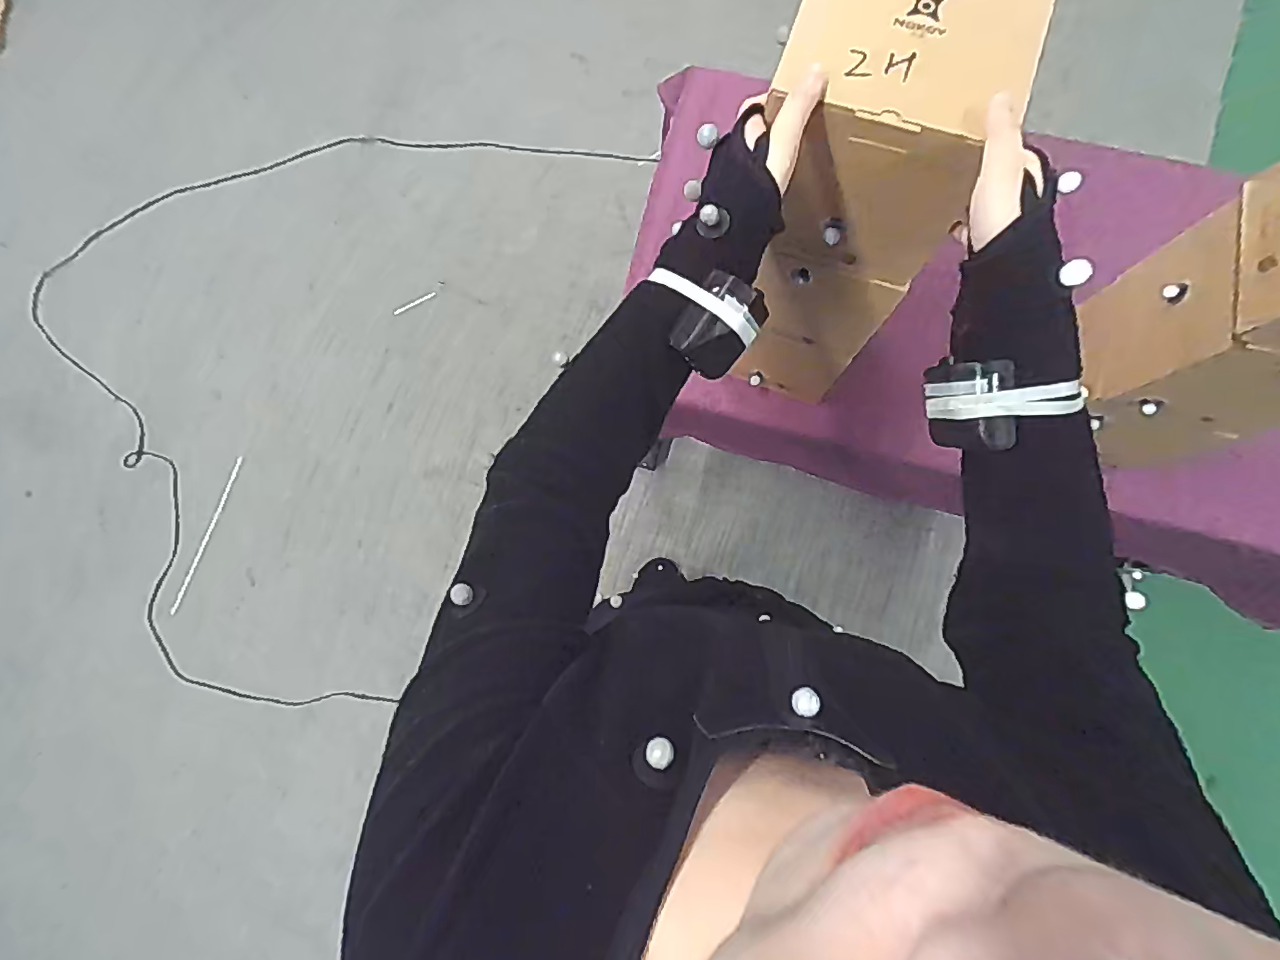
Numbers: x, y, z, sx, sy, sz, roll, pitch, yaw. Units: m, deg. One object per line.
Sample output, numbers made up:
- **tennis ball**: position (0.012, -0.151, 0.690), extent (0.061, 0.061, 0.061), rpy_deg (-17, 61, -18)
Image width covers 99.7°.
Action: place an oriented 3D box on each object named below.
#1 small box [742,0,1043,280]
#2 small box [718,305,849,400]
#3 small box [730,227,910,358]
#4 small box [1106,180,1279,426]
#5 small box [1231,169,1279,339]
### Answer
- **small box**: position (0.193, -0.306, 0.455), extent (0.168, 0.176, 0.179), rpy_deg (18, 81, 7)
- **small box**: position (0.218, -0.240, 0.777), extent (0.168, 0.176, 0.179), rpy_deg (20, 82, 7)
- **small box**: position (0.209, -0.270, 0.615), extent (0.168, 0.176, 0.179), rpy_deg (20, 80, 8)
- **small box**: position (0.648, -0.173, 0.575), extent (0.168, 0.176, 0.179), rpy_deg (14, 79, 5)
- **small box**: position (0.637, -0.206, 0.416), extent (0.179, 0.176, 0.168), rpy_deg (13, 80, 6)
